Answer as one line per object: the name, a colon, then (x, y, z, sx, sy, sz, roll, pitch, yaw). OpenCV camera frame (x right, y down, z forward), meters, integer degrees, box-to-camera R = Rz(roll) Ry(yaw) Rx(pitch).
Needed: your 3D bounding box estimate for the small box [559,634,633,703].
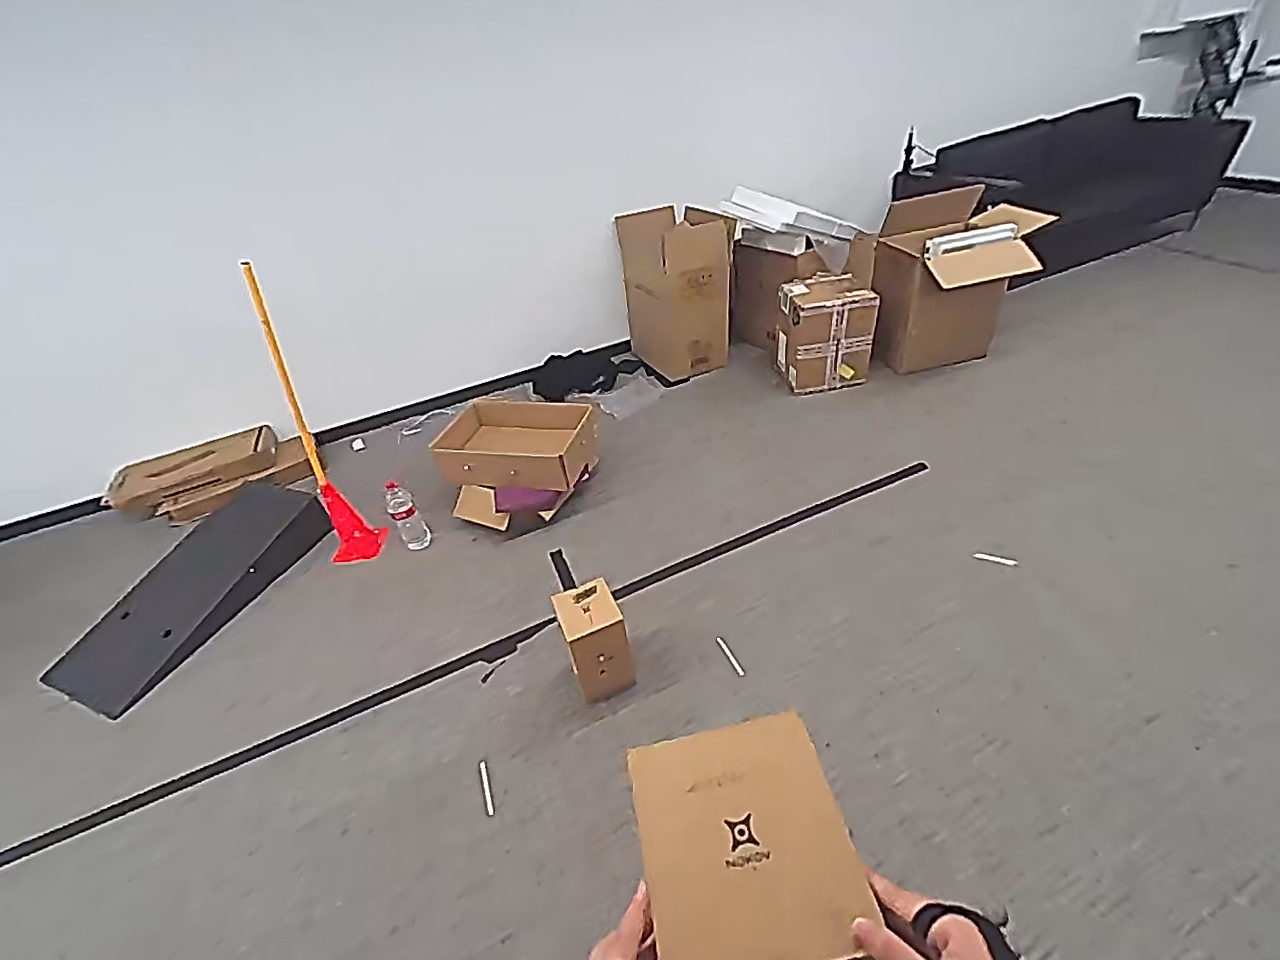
small box: (-0.135, 0.558, 1.681, 0.179, 0.176, 0.168, -19, 39, -14)

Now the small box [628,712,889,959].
small box: (0.091, 0.345, 0.488, 0.168, 0.176, 0.179, -11, 42, -5)

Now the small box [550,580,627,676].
small box: (-0.149, 0.431, 1.577, 0.168, 0.176, 0.179, -19, 40, -14)
